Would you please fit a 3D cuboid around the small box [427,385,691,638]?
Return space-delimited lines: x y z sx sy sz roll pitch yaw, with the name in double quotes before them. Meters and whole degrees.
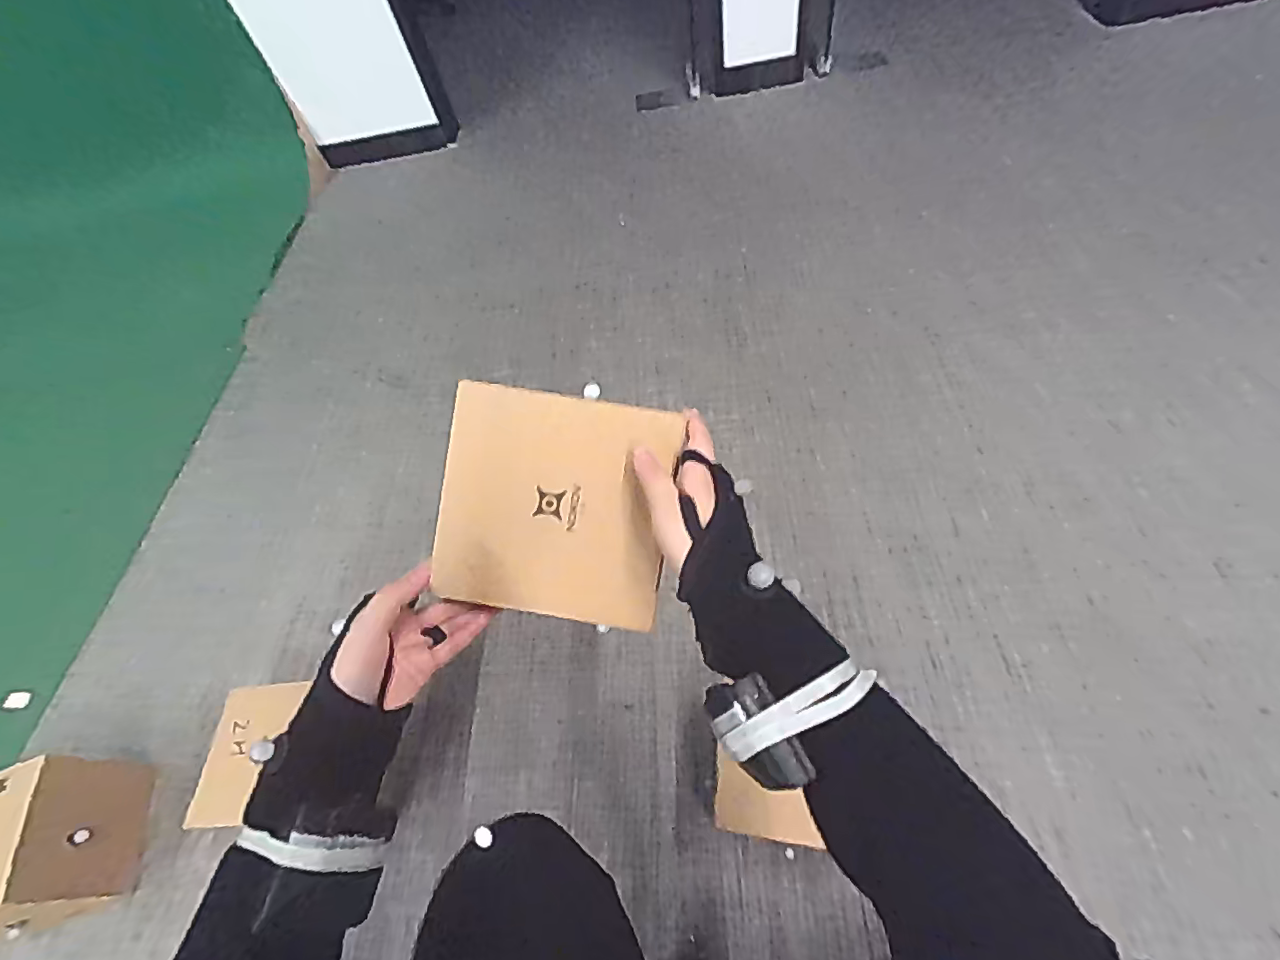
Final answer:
"small box" -0.059 0.024 0.481 0.179 0.176 0.168 10 90 1

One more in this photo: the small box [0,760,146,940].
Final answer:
"small box" -0.843 0.513 0.746 0.168 0.176 0.179 -20 55 -3

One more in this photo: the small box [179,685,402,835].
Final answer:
"small box" -0.463 0.393 0.753 0.179 0.176 0.168 -7 55 6
